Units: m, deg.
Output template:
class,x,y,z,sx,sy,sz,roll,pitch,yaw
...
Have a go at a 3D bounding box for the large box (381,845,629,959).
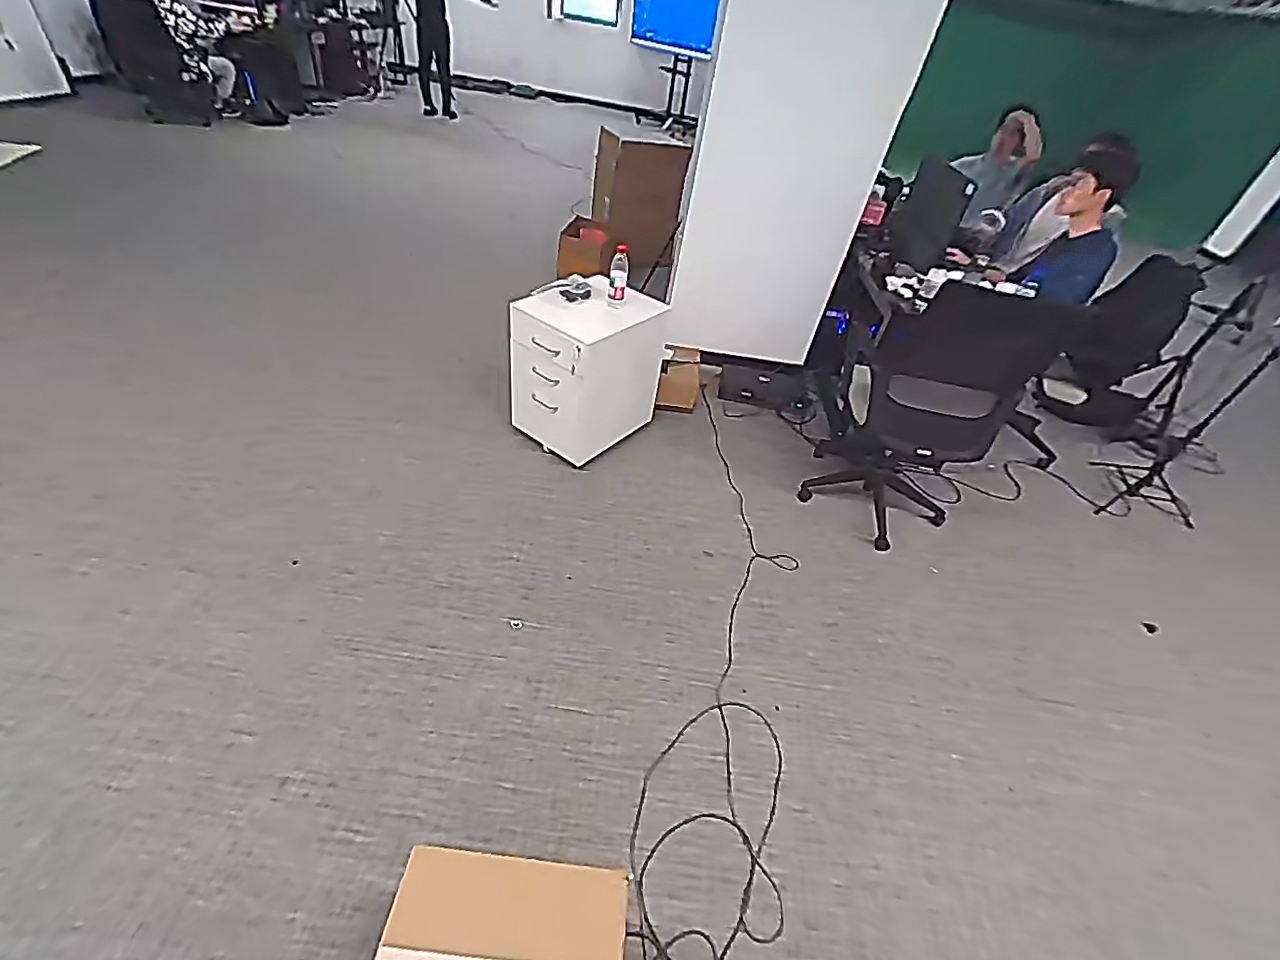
class,x,y,z,sx,sy,sz,roll,pitch,yaw
large box,-0.248,0.916,0.990,0.408,0.320,0.320,9,41,-2
